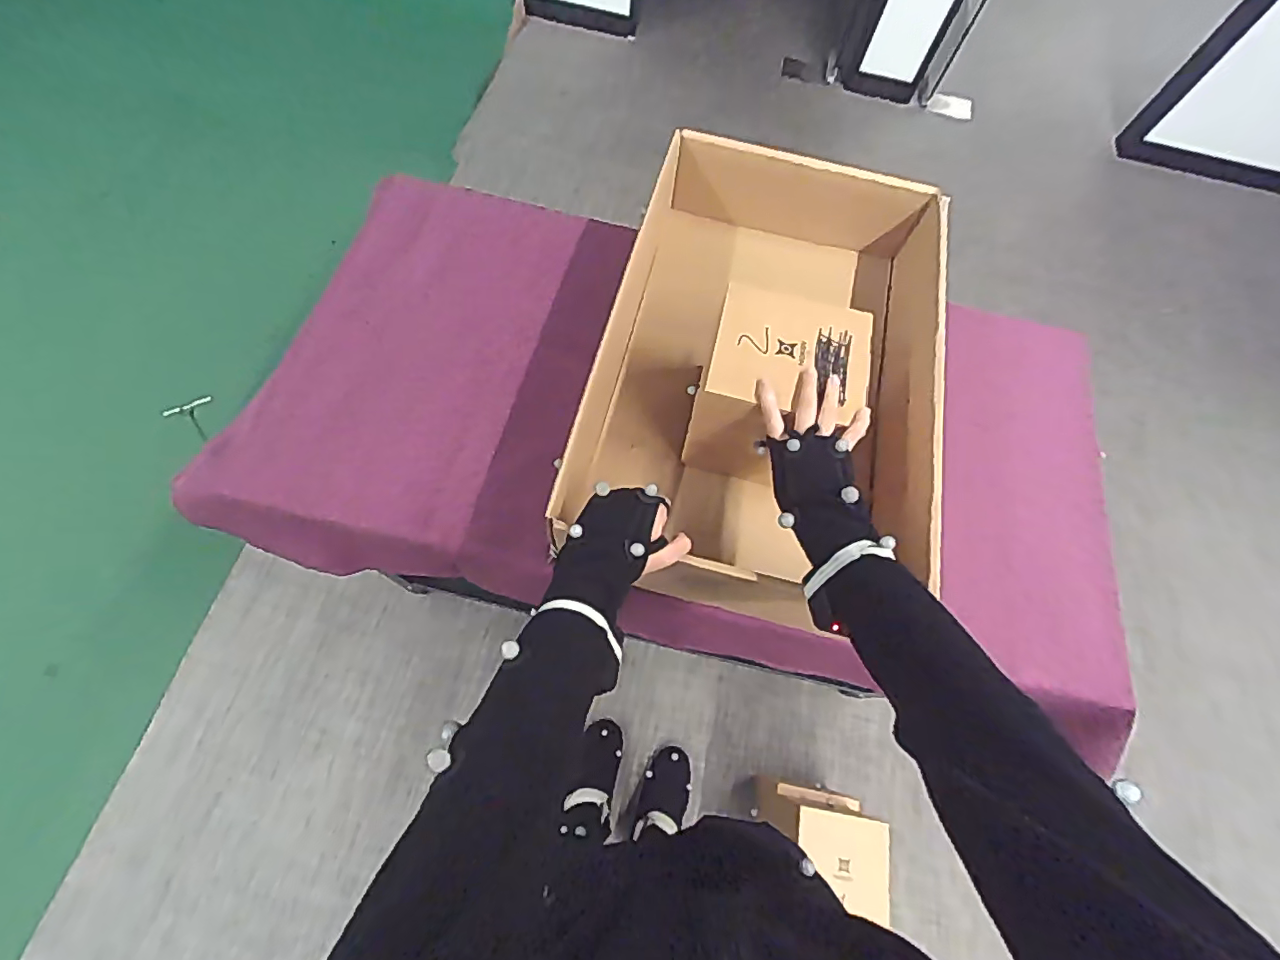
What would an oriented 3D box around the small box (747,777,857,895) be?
[{"bbox_3d":[0.346,0.760,1.173,0.179,0.176,0.168,12,67,1],"label":"small box"}]
